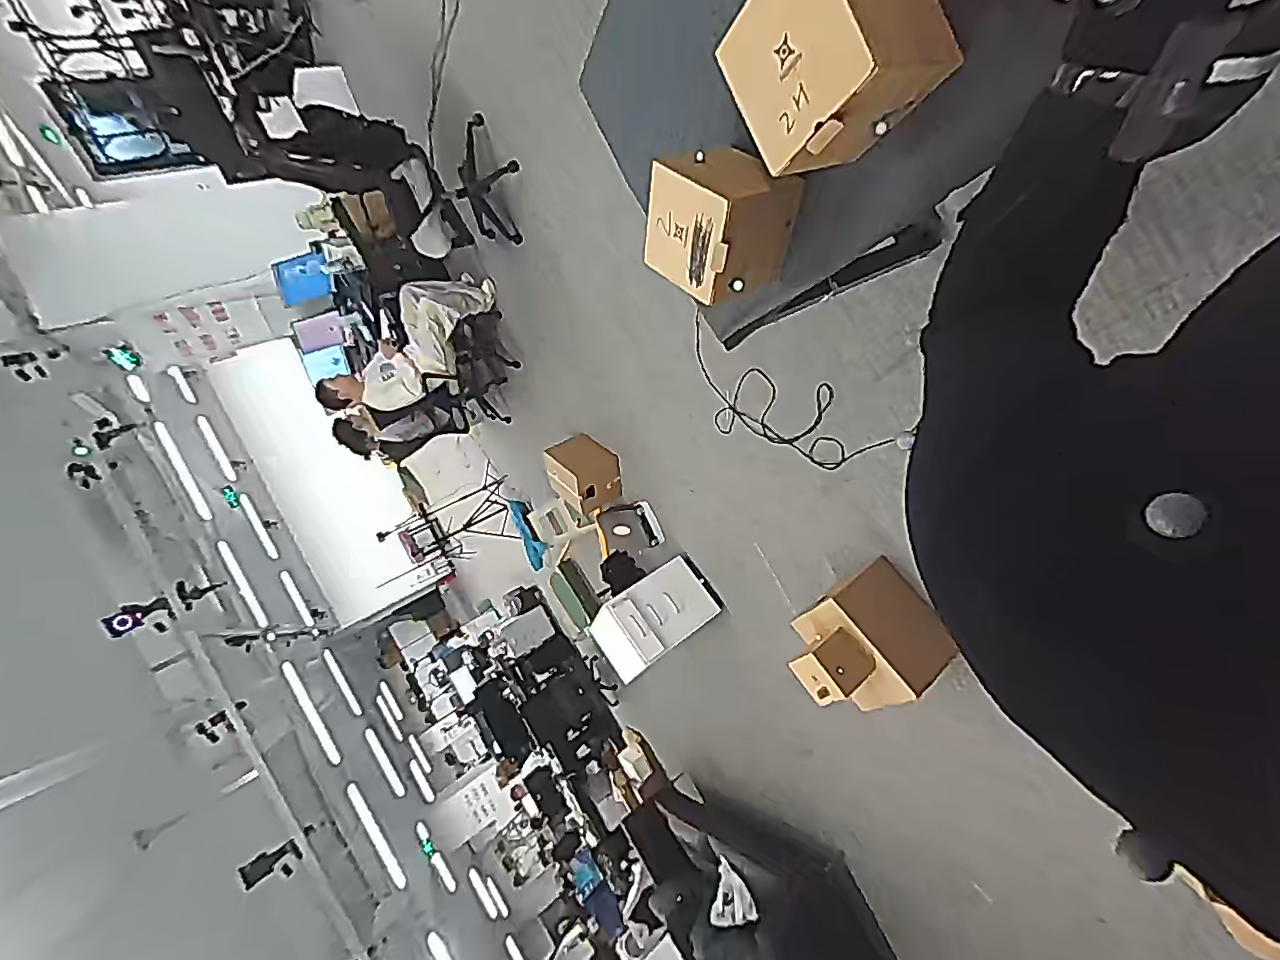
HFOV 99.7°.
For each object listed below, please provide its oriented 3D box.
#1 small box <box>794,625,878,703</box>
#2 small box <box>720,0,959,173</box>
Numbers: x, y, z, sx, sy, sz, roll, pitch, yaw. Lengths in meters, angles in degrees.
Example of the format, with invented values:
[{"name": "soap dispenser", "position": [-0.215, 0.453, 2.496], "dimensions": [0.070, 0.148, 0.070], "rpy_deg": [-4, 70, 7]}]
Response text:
[{"name": "small box", "position": [0.679, 0.636, 1.868], "dimensions": [0.179, 0.176, 0.168], "rpy_deg": [53, 150, 17]}, {"name": "small box", "position": [0.234, -0.508, 0.646], "dimensions": [0.179, 0.176, 0.168], "rpy_deg": [63, 154, -2]}]
